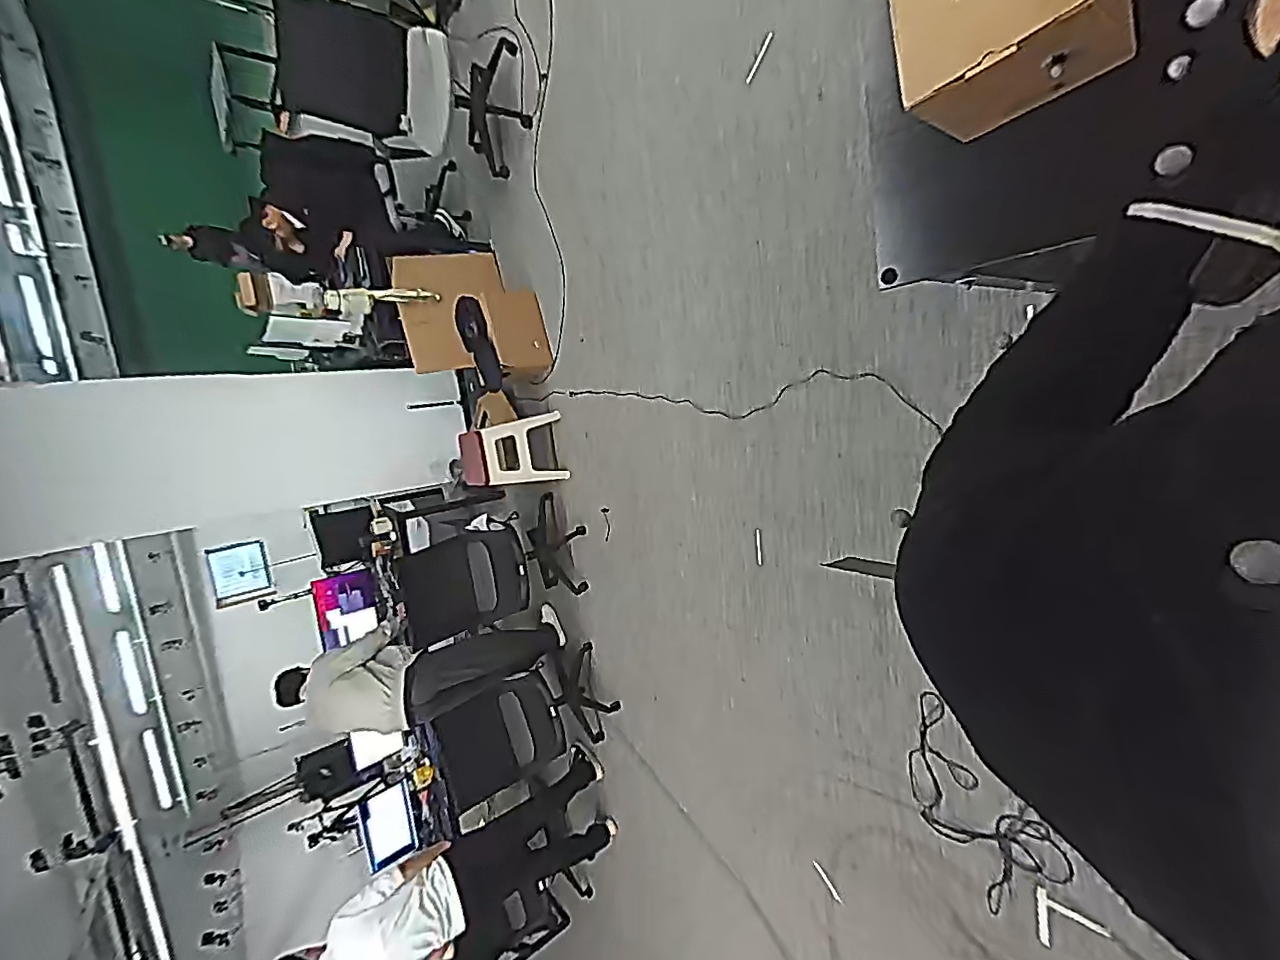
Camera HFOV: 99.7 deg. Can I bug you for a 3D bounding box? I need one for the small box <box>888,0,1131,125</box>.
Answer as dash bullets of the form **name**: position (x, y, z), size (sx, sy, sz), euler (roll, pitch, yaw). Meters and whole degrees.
- **small box**: position (0.380, -0.504, 0.562), size (0.168, 0.176, 0.179), euler (-6, 95, 51)
